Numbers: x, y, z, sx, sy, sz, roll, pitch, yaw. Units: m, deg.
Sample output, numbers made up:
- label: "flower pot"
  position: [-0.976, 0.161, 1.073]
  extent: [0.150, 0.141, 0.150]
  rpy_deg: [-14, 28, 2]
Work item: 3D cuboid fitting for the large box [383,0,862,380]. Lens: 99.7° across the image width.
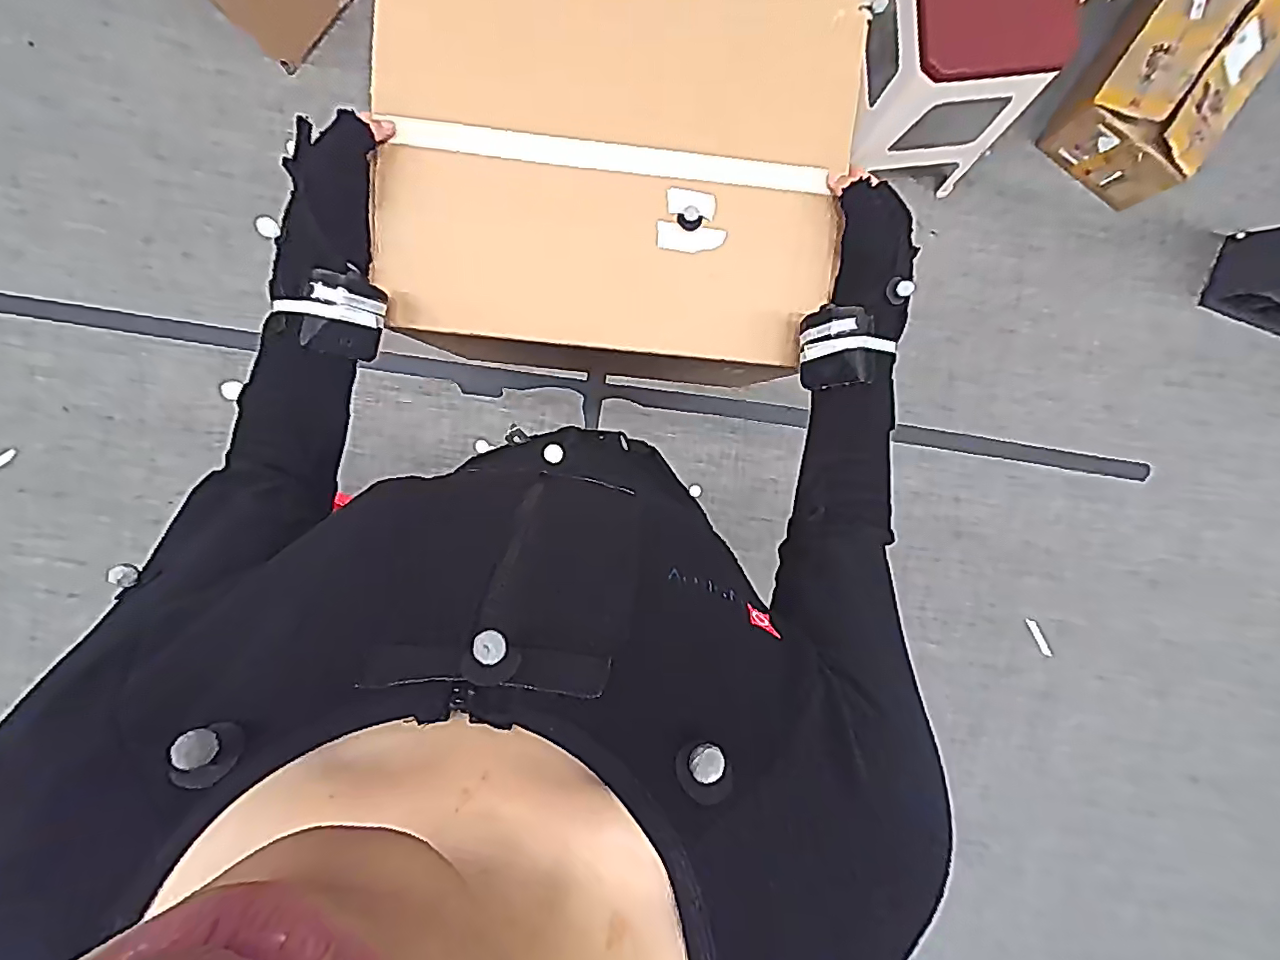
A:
- label: "large box"
  position: [-0.027, -0.293, 0.613]
  extent: [0.408, 0.320, 0.320]
  rpy_deg: [5, 97, -5]
